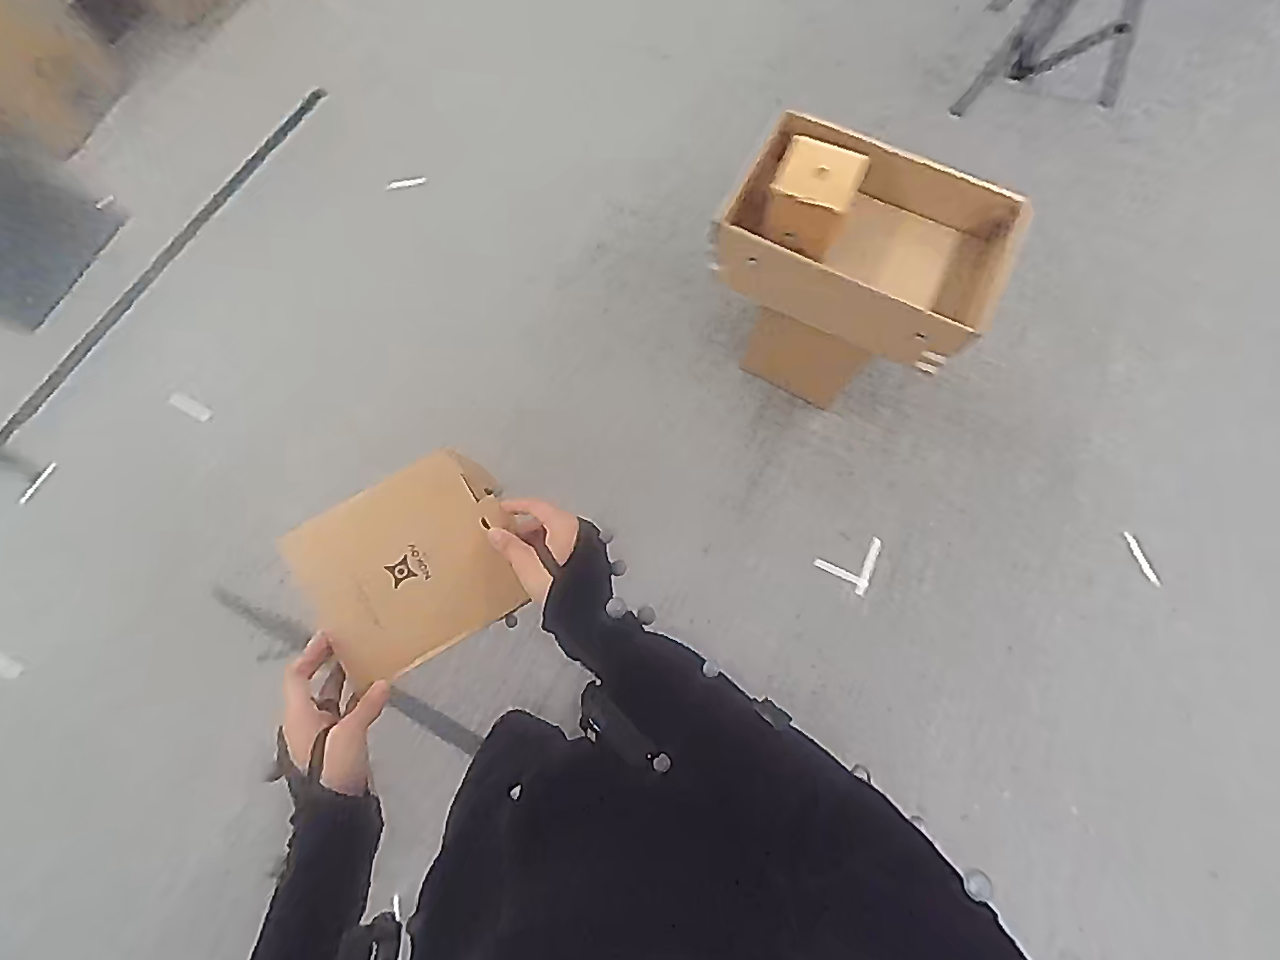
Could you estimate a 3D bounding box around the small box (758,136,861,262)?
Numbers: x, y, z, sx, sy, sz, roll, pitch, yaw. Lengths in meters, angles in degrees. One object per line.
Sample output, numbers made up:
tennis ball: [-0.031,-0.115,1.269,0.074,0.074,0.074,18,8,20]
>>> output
small box: [0.394,-0.659,1.282,0.168,0.176,0.179,22,74,7]

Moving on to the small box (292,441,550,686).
small box: [-0.206,0.081,0.567,0.179,0.176,0.168,-29,85,-6]
